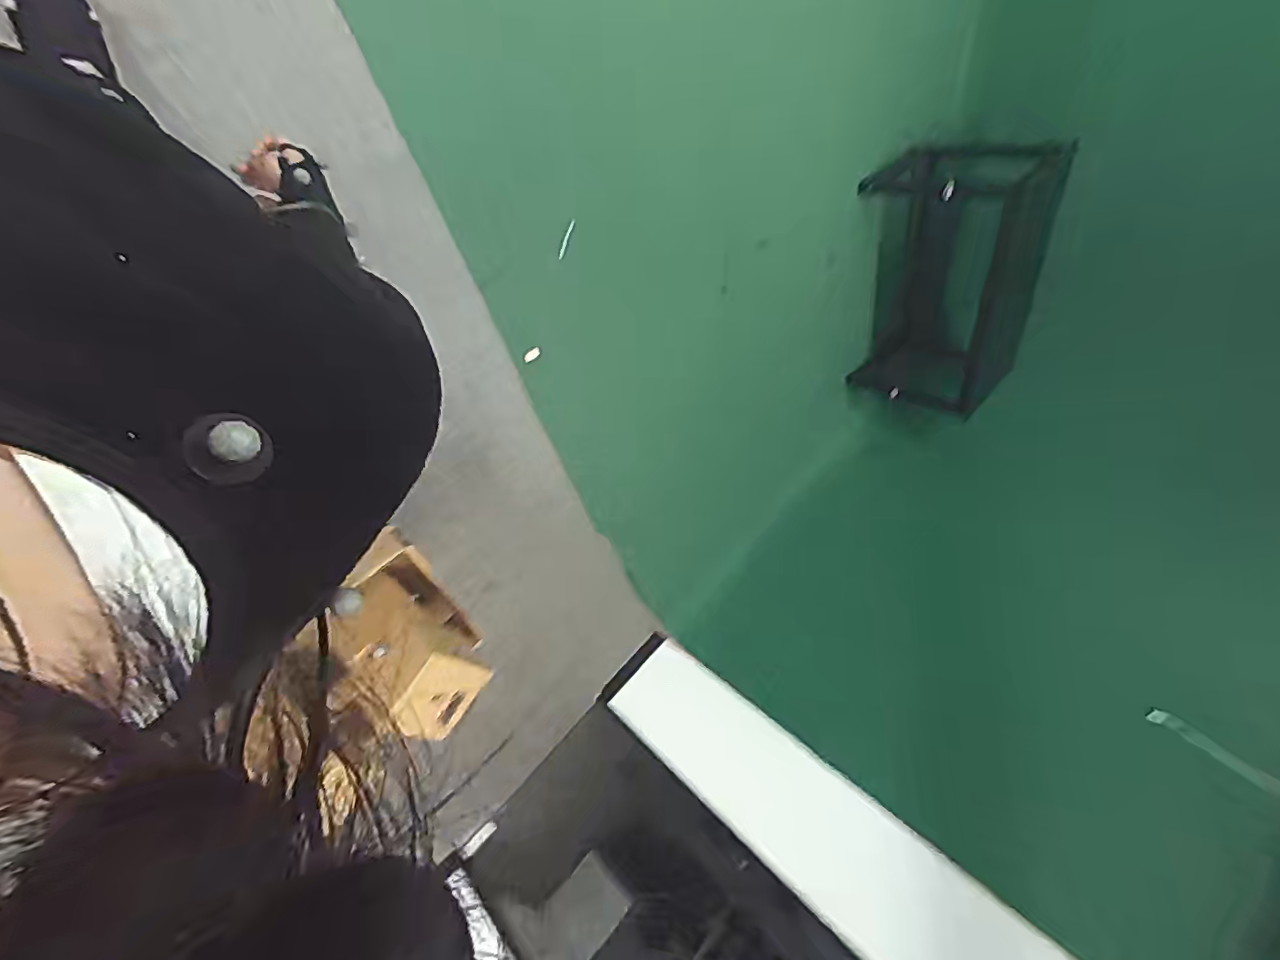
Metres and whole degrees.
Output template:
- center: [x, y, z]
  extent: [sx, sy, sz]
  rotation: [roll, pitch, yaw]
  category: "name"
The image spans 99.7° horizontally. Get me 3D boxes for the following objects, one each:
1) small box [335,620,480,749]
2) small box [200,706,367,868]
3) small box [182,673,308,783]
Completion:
- center: [-0.469, 0.410, 1.095]
  extent: [0.168, 0.176, 0.179]
  rotation: [-54, 141, -12]
  category: "small box"
- center: [-0.646, 0.550, 0.976]
  extent: [0.179, 0.176, 0.168]
  rotation: [-48, 142, -19]
  category: "small box"
- center: [-0.770, 0.519, 1.084]
  extent: [0.168, 0.176, 0.179]
  rotation: [-34, 134, -31]
  category: "small box"
